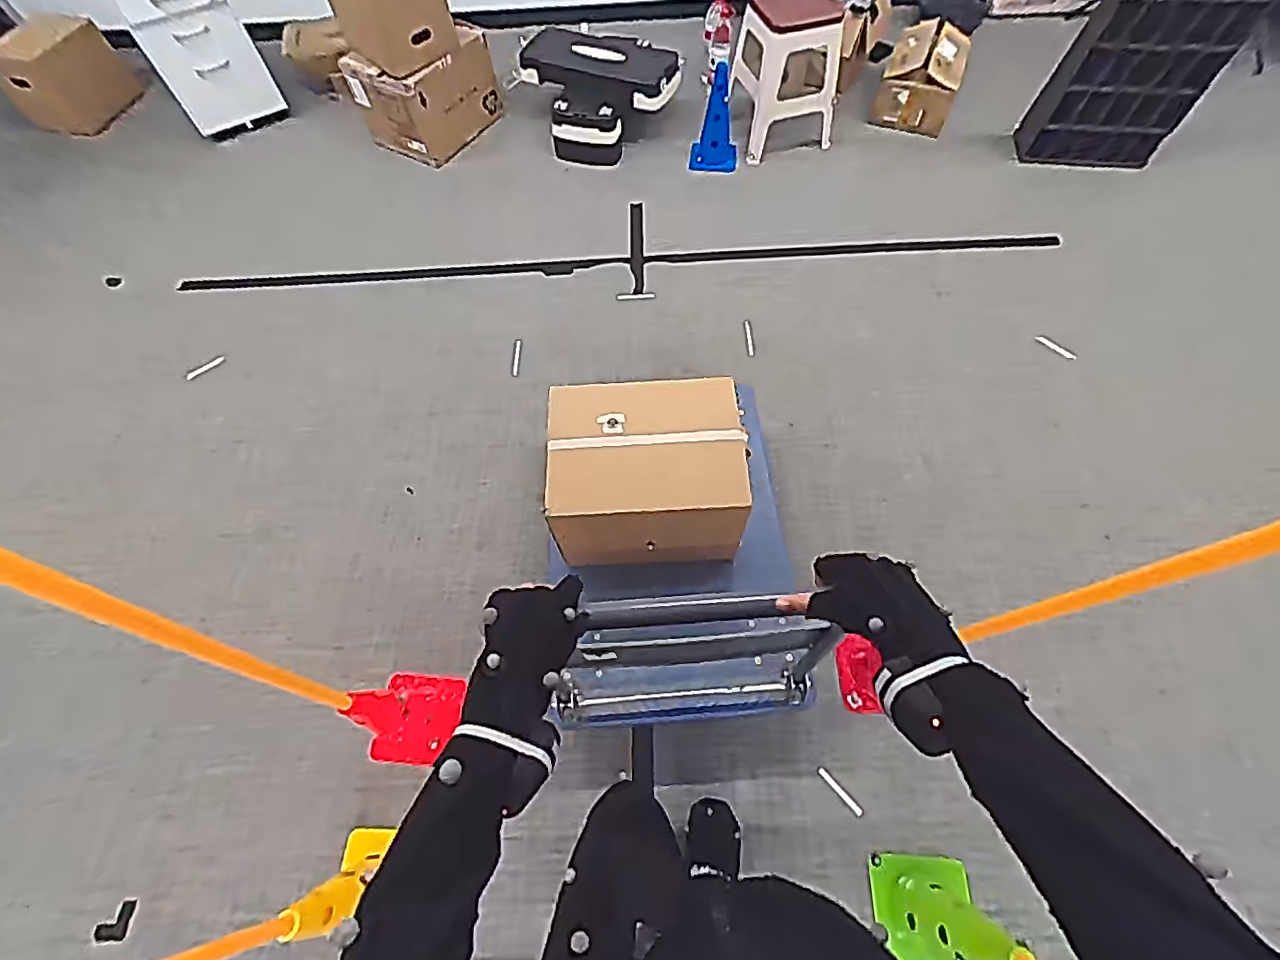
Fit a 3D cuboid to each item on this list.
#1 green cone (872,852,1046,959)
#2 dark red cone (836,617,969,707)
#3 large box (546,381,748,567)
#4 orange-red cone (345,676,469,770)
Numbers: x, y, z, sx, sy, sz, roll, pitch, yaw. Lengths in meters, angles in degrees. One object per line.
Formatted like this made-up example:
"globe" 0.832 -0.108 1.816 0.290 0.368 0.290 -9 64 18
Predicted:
"green cone" 0.584 0.804 0.956 0.202 0.368 0.200 1 62 2
"dark red cone" 0.590 0.369 1.171 0.201 0.394 0.202 -1 62 0
"large box" 0.014 0.000 1.253 0.408 0.320 0.320 -4 62 1
"orange-red cone" -0.536 0.504 1.171 0.198 0.360 0.199 5 60 4
